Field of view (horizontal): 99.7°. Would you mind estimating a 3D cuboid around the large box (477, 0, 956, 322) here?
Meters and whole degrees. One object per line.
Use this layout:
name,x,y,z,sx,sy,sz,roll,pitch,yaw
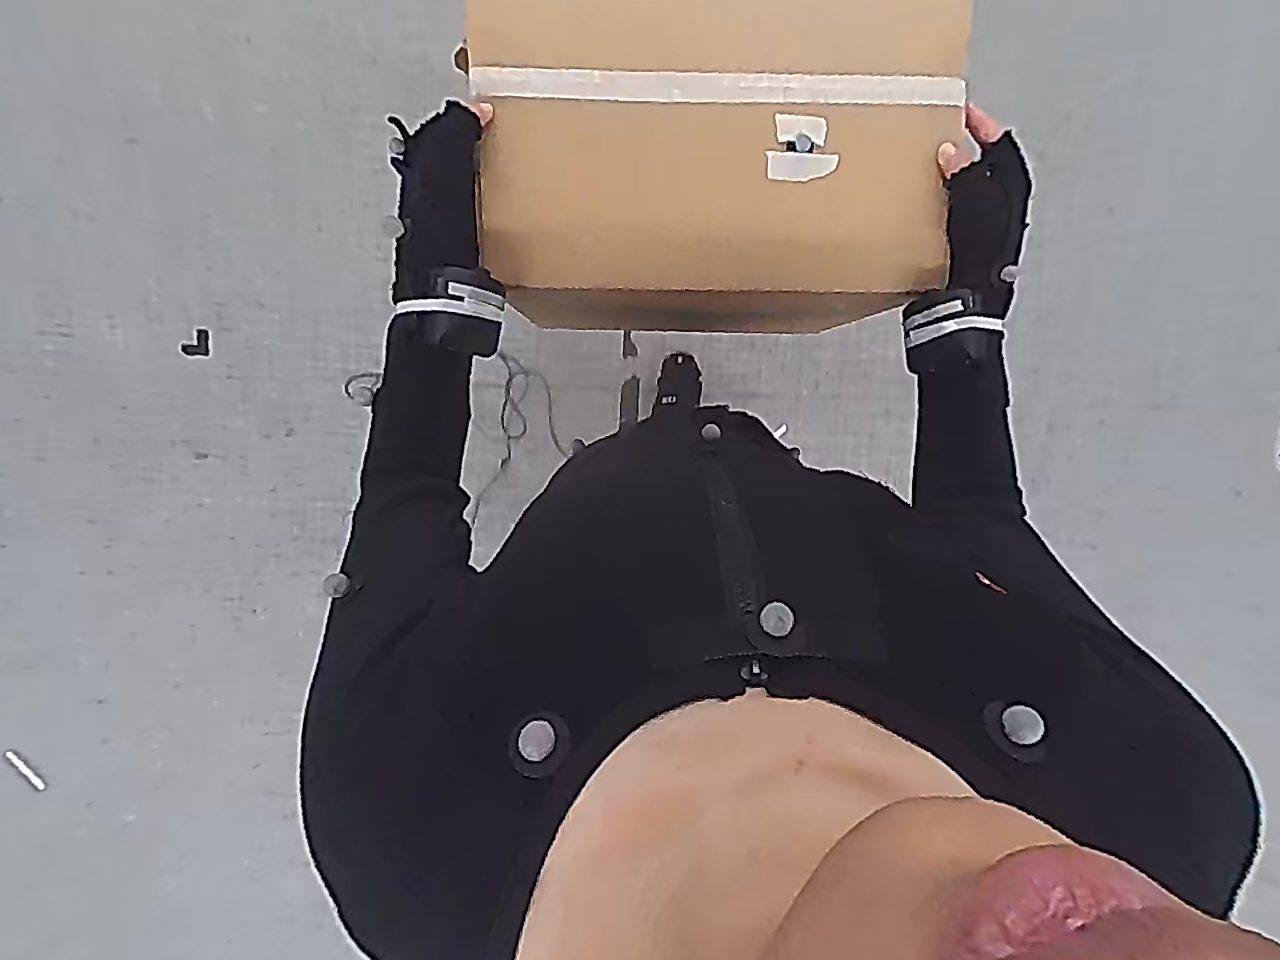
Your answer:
large box,0.058,-0.357,0.603,0.408,0.320,0.320,0,100,-2
